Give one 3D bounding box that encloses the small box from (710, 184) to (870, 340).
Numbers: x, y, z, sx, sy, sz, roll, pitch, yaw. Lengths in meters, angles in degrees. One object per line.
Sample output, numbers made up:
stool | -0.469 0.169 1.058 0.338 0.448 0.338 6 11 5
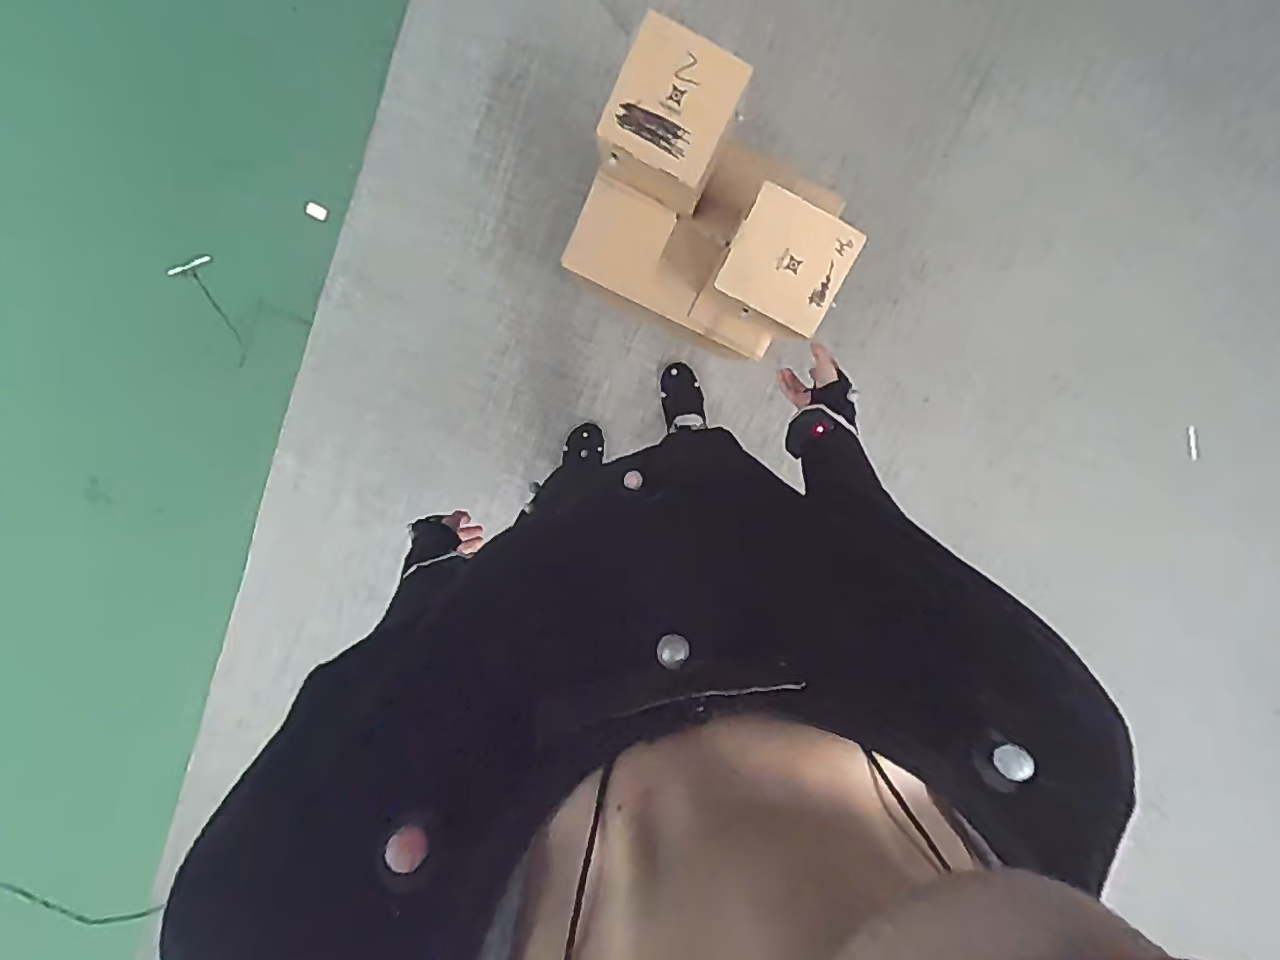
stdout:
small box | 0.226 -0.336 0.876 0.179 0.176 0.168 27 103 -4
